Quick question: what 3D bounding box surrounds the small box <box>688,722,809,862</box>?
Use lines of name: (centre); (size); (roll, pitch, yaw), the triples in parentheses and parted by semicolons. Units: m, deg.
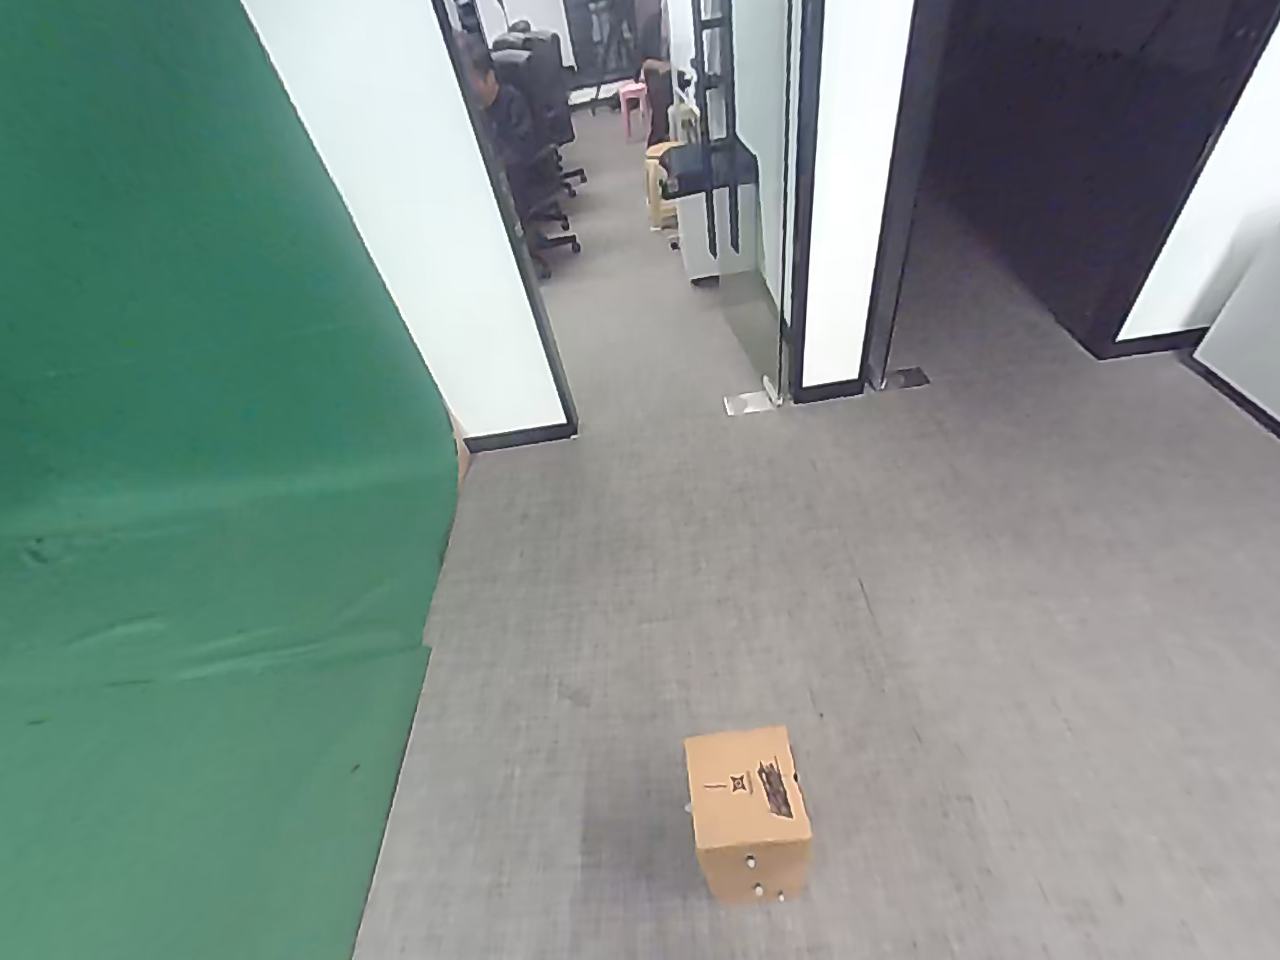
small box: (0.178, 0.531, 0.919); (0.179, 0.176, 0.168); (-6, 42, 7)

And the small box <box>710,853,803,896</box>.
small box: (0.236, 0.763, 1.148); (0.179, 0.176, 0.168); (-10, 43, 6)
